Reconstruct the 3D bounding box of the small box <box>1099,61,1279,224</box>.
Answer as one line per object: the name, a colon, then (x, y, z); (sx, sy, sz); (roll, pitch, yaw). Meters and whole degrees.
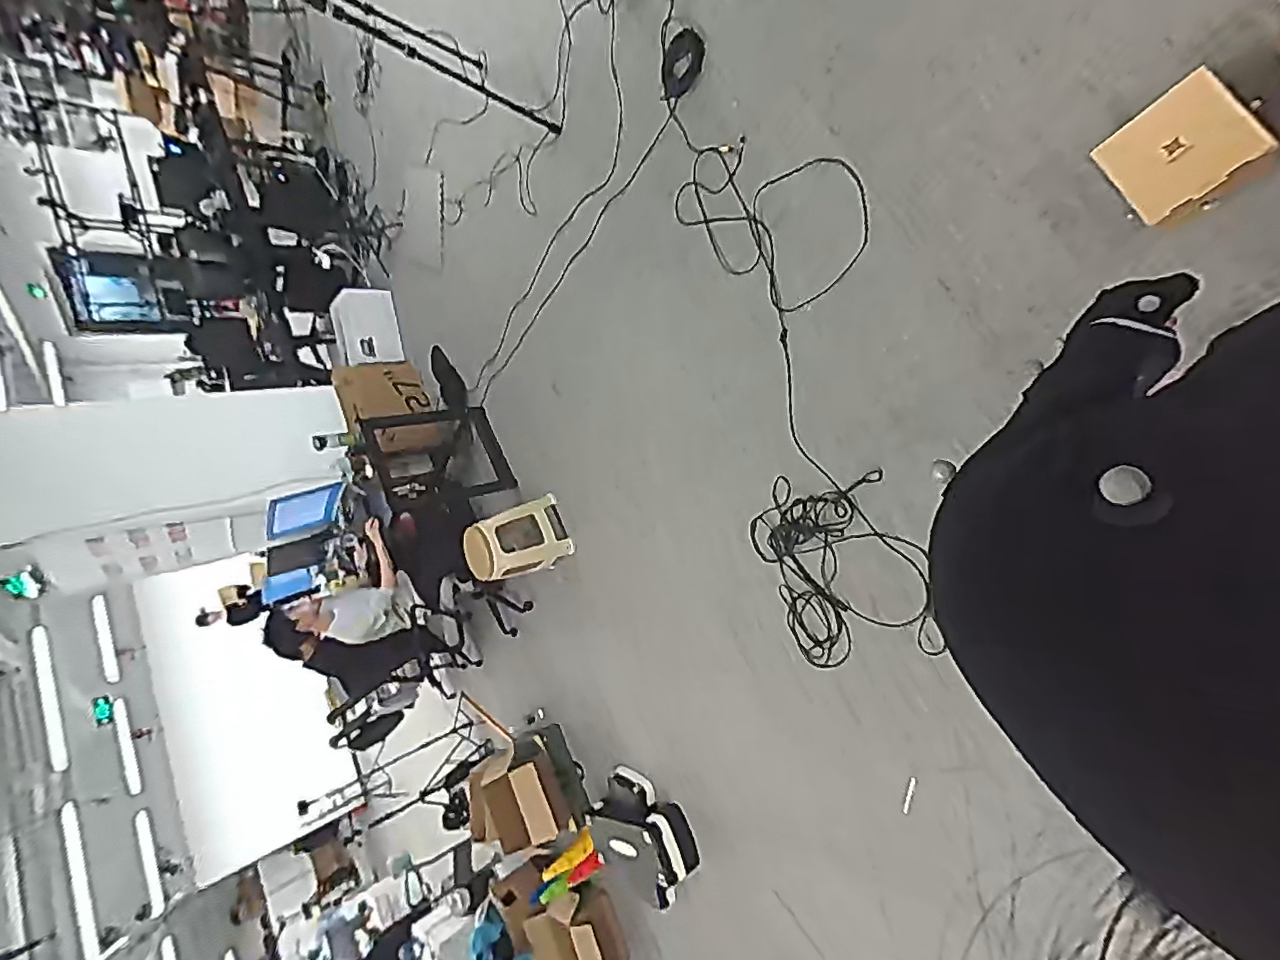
small box: (0.971, -0.582, 0.959); (0.168, 0.176, 0.179); (-41, 70, 48)
